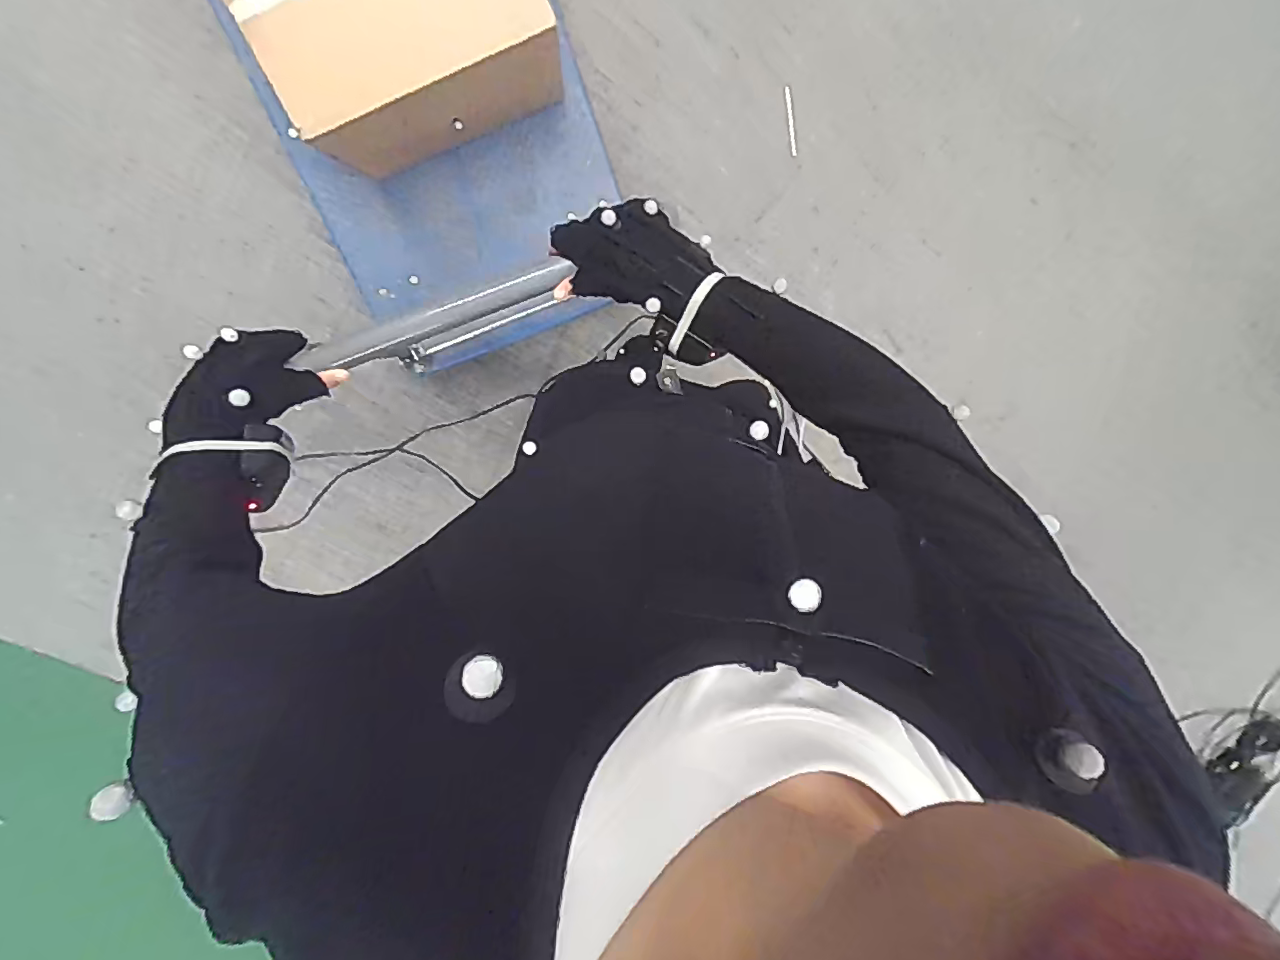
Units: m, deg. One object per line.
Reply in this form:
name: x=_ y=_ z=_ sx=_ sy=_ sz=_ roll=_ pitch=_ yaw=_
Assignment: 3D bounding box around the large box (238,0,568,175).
large box: x=-0.361 y=-0.751 z=0.863 sx=0.408 sy=0.320 sz=0.320 roll=-23 pitch=109 yaw=3
